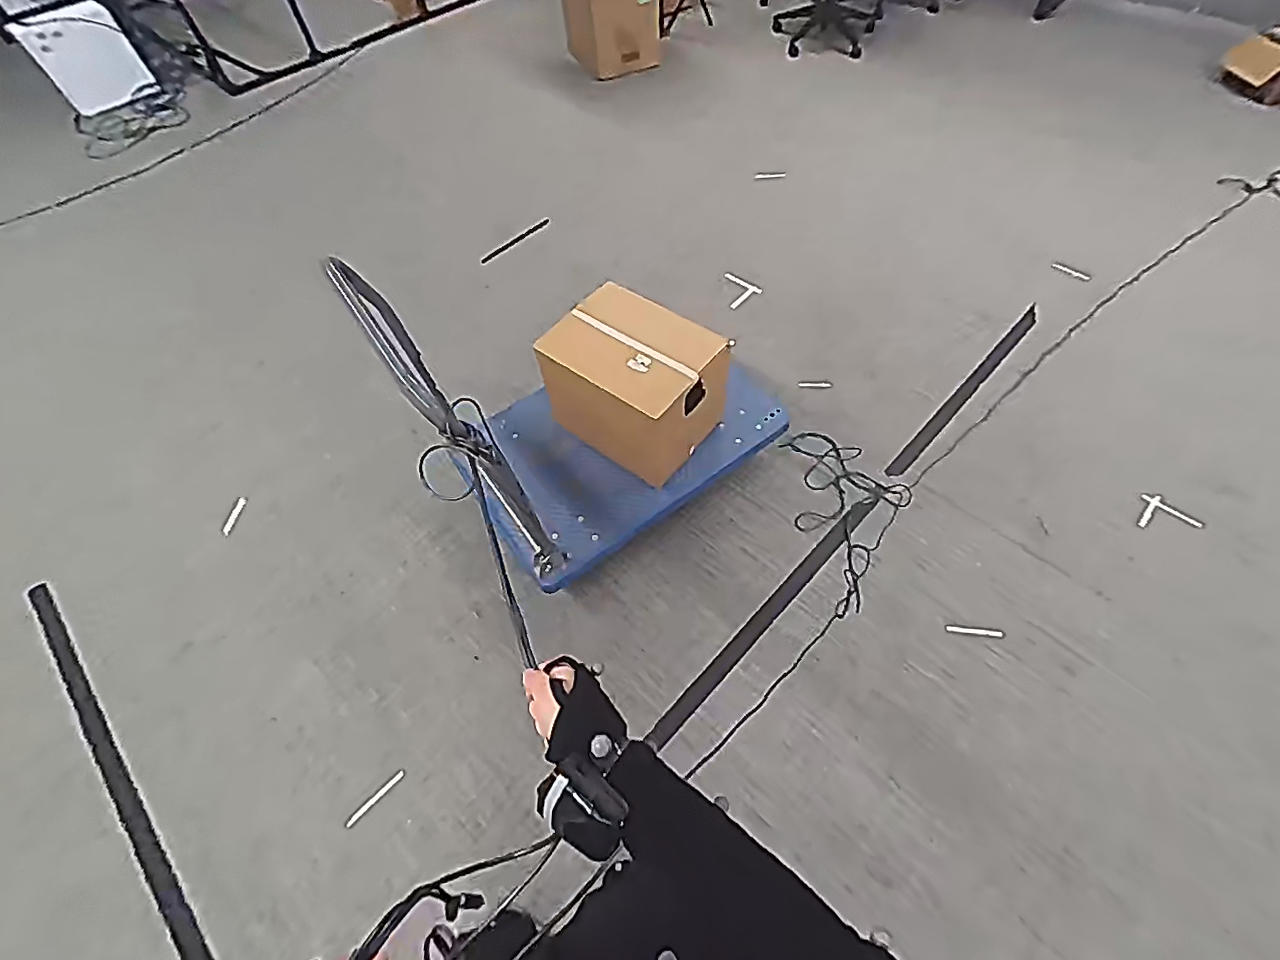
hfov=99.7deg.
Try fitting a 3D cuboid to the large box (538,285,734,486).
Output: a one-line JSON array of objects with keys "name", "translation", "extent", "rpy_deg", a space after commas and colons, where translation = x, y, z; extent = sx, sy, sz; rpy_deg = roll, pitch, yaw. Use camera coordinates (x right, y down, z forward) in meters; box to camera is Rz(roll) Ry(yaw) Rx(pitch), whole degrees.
[{"name": "large box", "translation": [-0.009, -0.256, 1.477], "extent": [0.408, 0.320, 0.320], "rpy_deg": [34, 66, 20]}]
